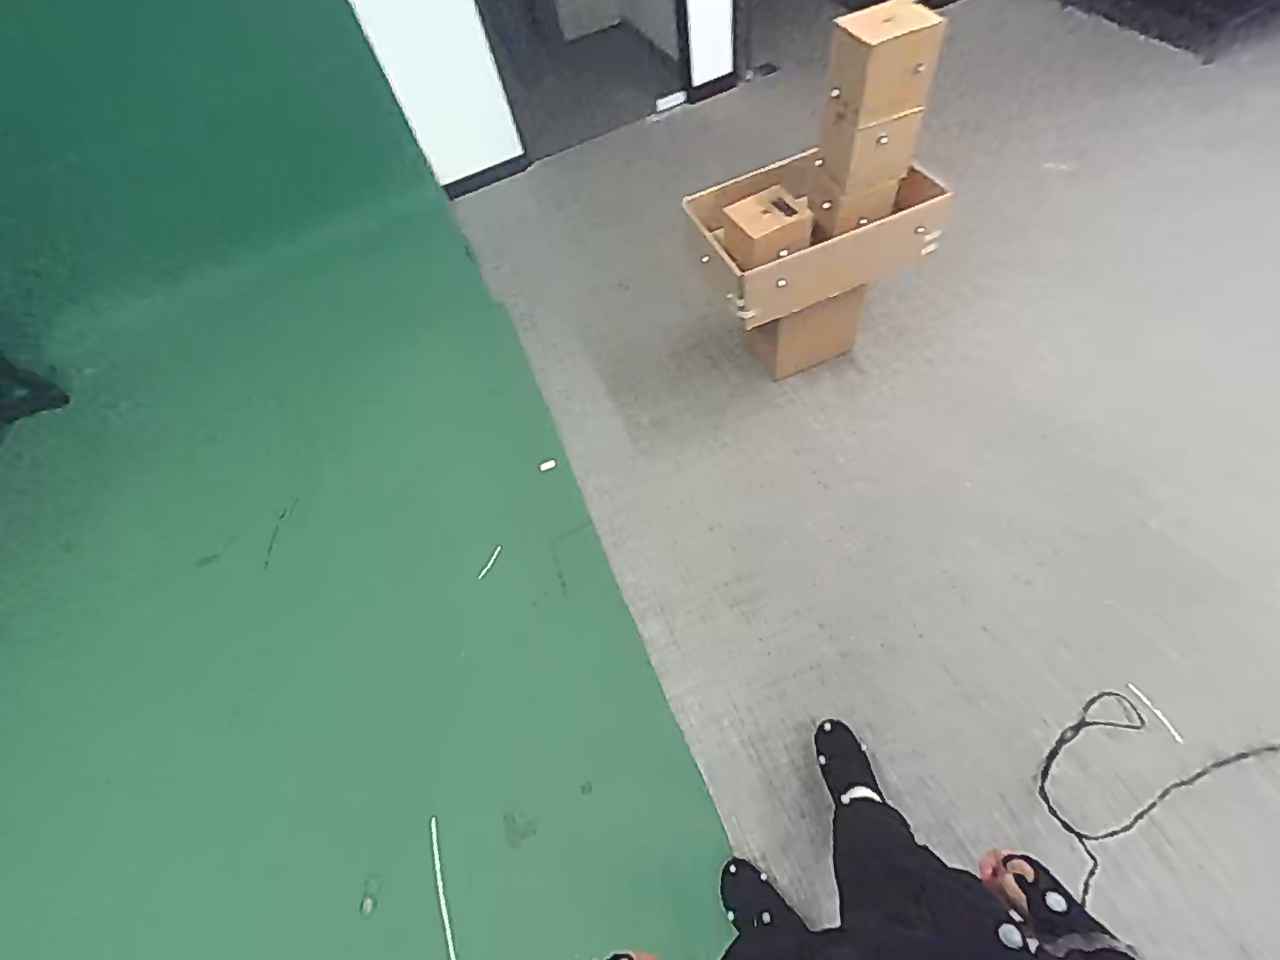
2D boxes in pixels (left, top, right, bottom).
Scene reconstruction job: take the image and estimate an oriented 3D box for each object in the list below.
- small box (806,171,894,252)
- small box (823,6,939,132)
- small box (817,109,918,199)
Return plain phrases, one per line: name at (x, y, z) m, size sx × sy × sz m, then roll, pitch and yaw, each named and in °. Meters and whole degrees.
small box at (0.586, -0.772, 1.533) m, size 0.168 × 0.176 × 0.179 m, roll -19°, pitch 57°, yaw -1°
small box at (0.550, -0.956, 1.264) m, size 0.179 × 0.176 × 0.168 m, roll -20°, pitch 56°, yaw -2°
small box at (0.574, -0.861, 1.395) m, size 0.179 × 0.176 × 0.168 m, roll -20°, pitch 57°, yaw -2°
